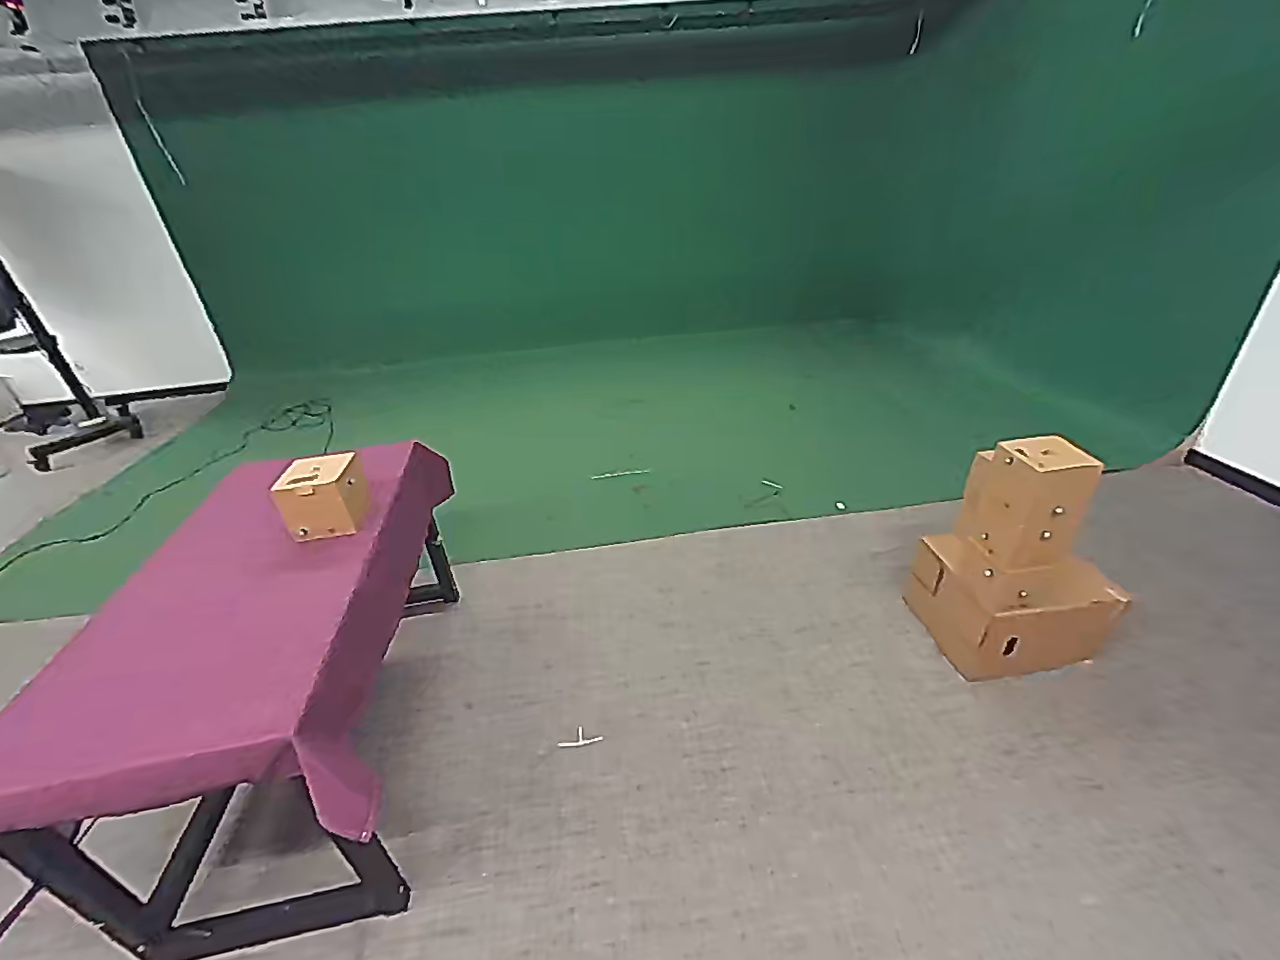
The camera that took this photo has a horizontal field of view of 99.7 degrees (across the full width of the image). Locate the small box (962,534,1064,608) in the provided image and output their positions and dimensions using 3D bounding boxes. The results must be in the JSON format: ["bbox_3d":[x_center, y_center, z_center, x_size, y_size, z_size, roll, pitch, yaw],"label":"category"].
[{"bbox_3d":[1.121,0.273,1.640,0.168,0.176,0.179,-6,31,-3],"label":"small box"}]

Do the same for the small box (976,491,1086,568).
[{"bbox_3d":[1.114,0.133,1.557,0.179,0.176,0.168,-7,32,-2],"label":"small box"}]

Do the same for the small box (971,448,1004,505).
[{"bbox_3d":[1.225,0.005,1.763,0.168,0.176,0.179,-6,30,-7],"label":"small box"}]

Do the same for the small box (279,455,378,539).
[{"bbox_3d":[-0.860,0.053,1.518,0.168,0.176,0.179,-8,30,-5],"label":"small box"}]

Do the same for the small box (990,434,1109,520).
[{"bbox_3d":[1.101,-0.007,1.472,0.179,0.176,0.168,-6,31,-3],"label":"small box"}]
